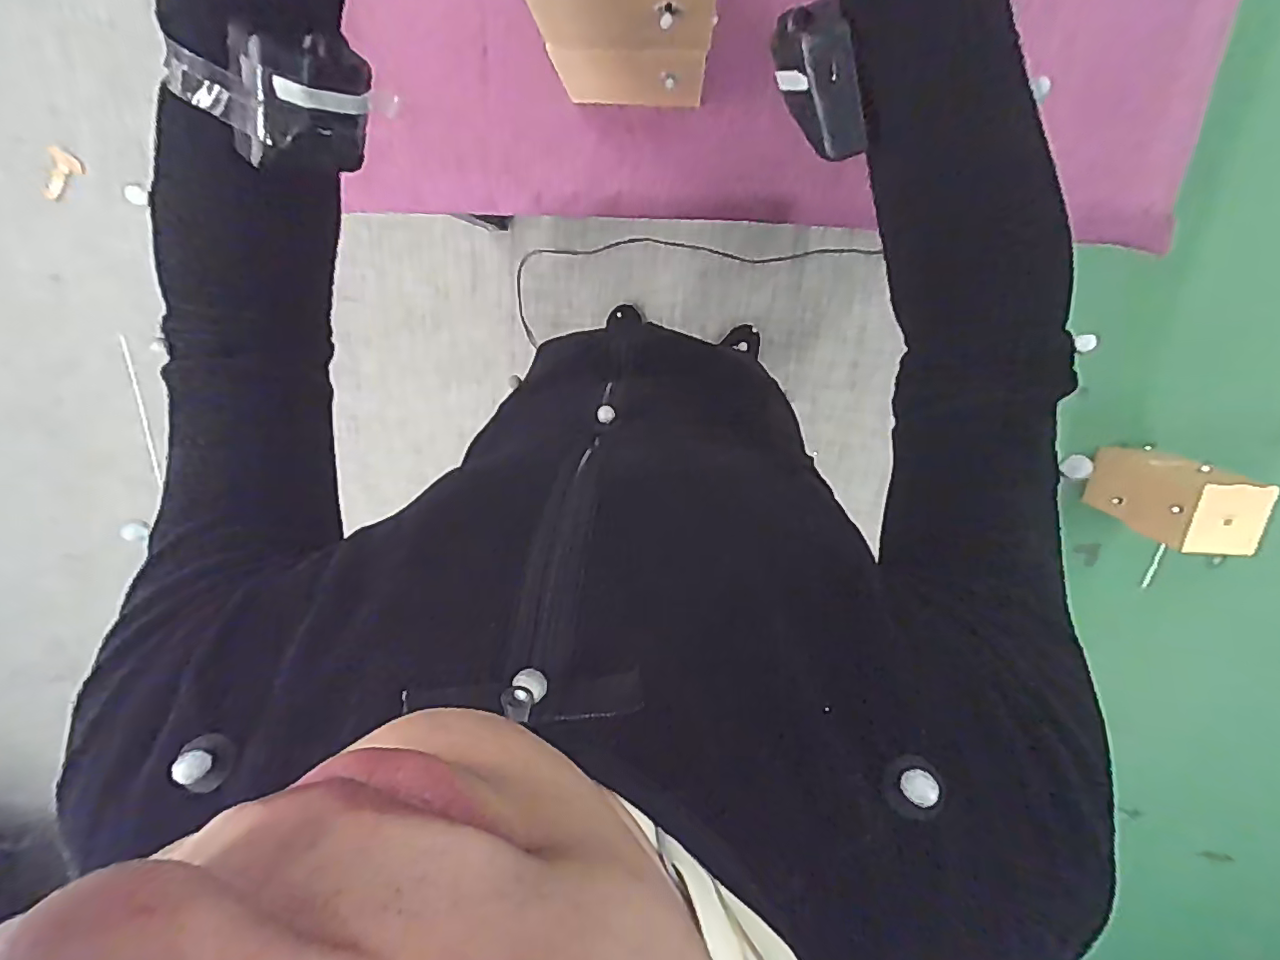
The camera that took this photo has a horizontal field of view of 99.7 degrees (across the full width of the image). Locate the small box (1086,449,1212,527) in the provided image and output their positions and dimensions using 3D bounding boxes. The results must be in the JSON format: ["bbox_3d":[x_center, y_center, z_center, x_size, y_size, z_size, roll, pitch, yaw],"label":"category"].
[{"bbox_3d":[1.391,0.025,1.495,0.168,0.176,0.179,4,108,2],"label":"small box"}]

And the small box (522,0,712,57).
[{"bbox_3d":[-0.016,-0.509,0.480,0.179,0.176,0.168,3,108,3],"label":"small box"}]

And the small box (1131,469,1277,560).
[{"bbox_3d":[1.383,0.081,1.343,0.168,0.176,0.179,2,106,3],"label":"small box"}]
